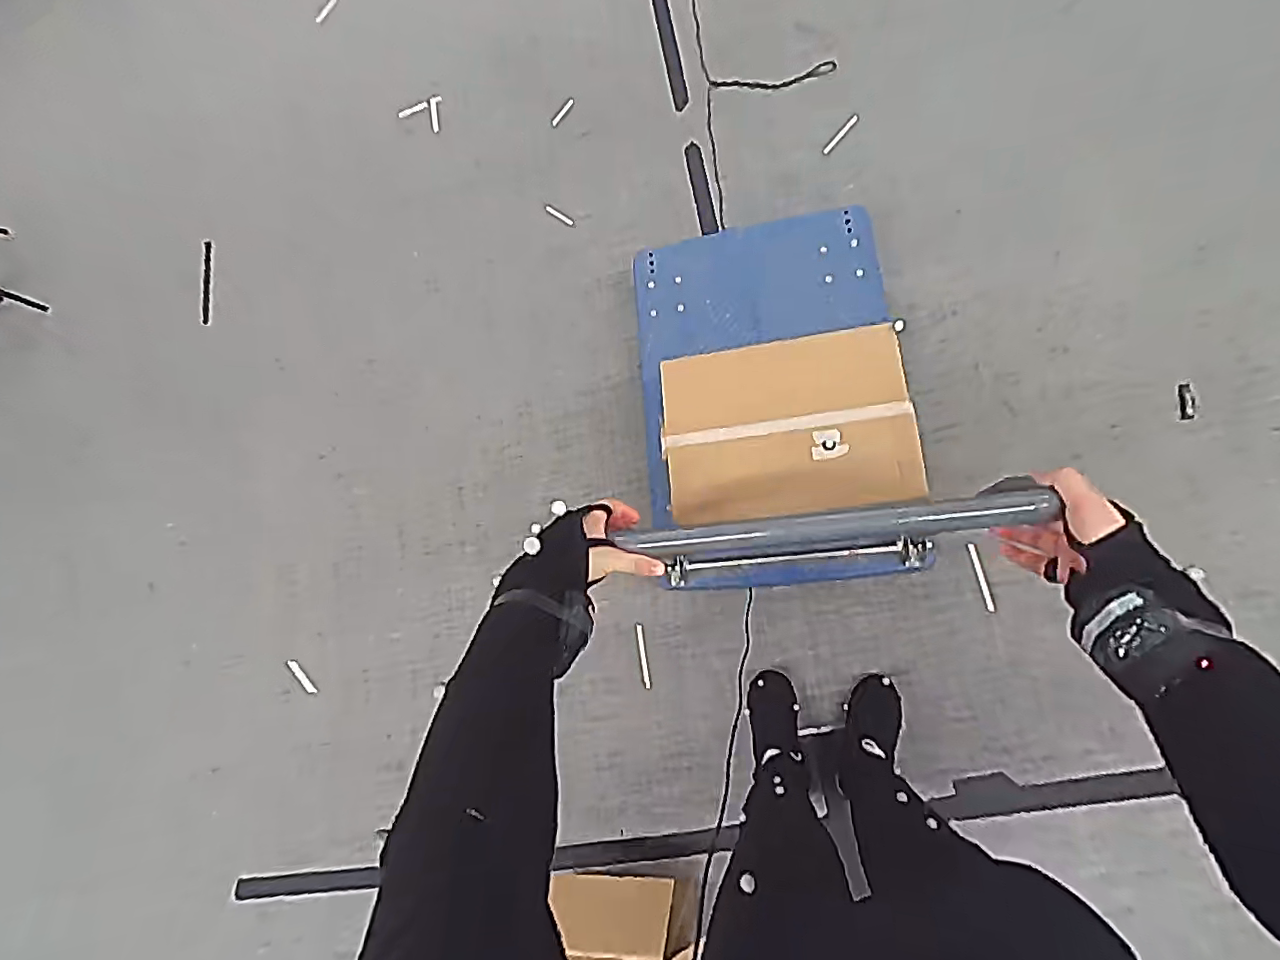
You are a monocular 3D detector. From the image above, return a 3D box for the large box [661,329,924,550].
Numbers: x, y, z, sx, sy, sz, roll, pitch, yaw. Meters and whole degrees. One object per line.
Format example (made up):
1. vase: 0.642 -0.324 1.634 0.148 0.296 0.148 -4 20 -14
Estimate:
1. large box: 0.274 -0.051 1.063 0.408 0.320 0.320 -7 76 11
